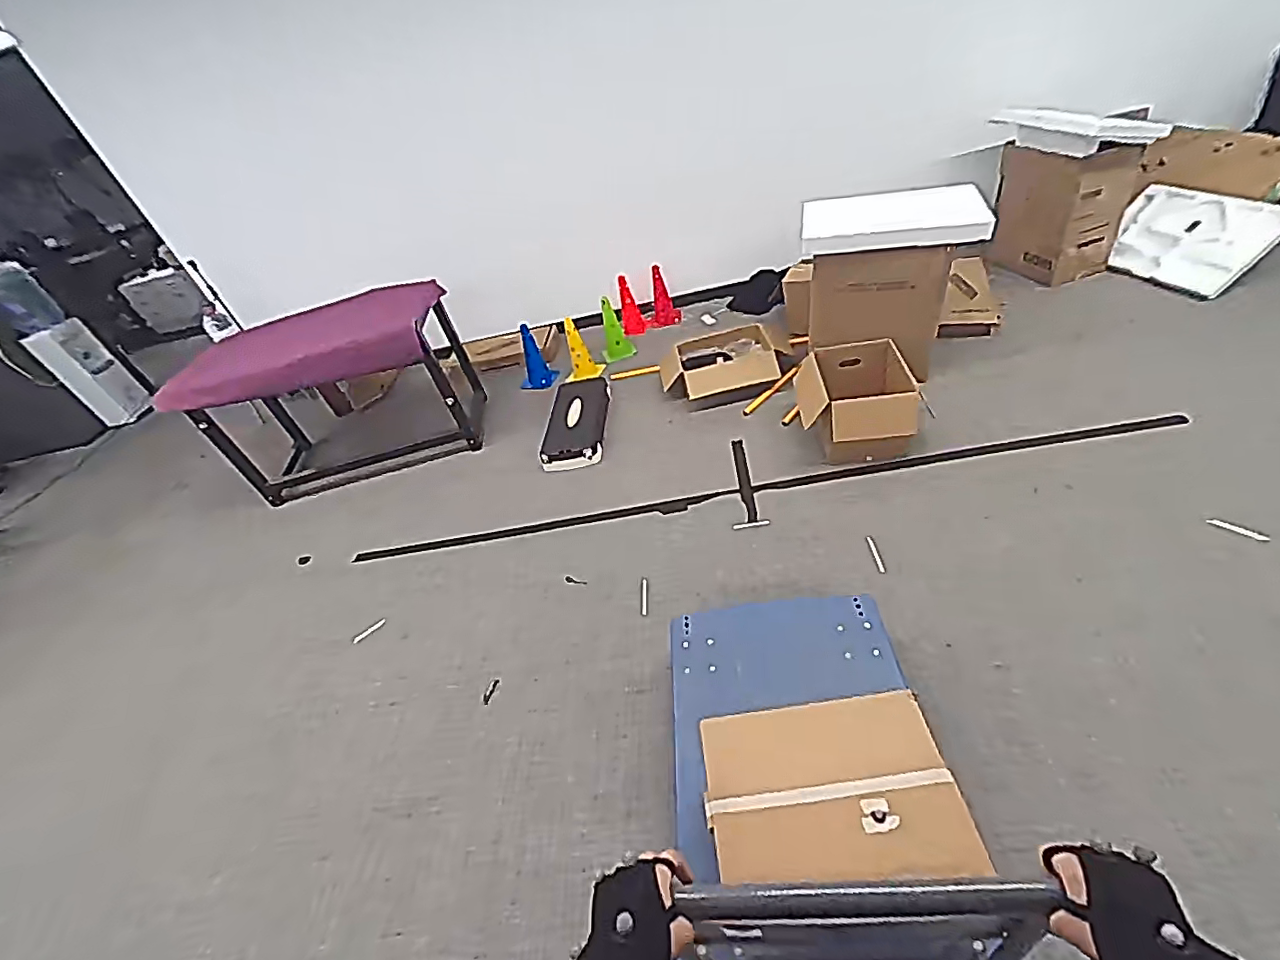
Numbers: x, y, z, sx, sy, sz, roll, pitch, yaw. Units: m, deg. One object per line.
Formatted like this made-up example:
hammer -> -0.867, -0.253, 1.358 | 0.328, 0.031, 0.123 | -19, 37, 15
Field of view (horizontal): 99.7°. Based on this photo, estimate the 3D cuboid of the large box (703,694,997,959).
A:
large box -> 0.352, 0.651, 1.013 | 0.408, 0.320, 0.320 | -11, 40, 5
